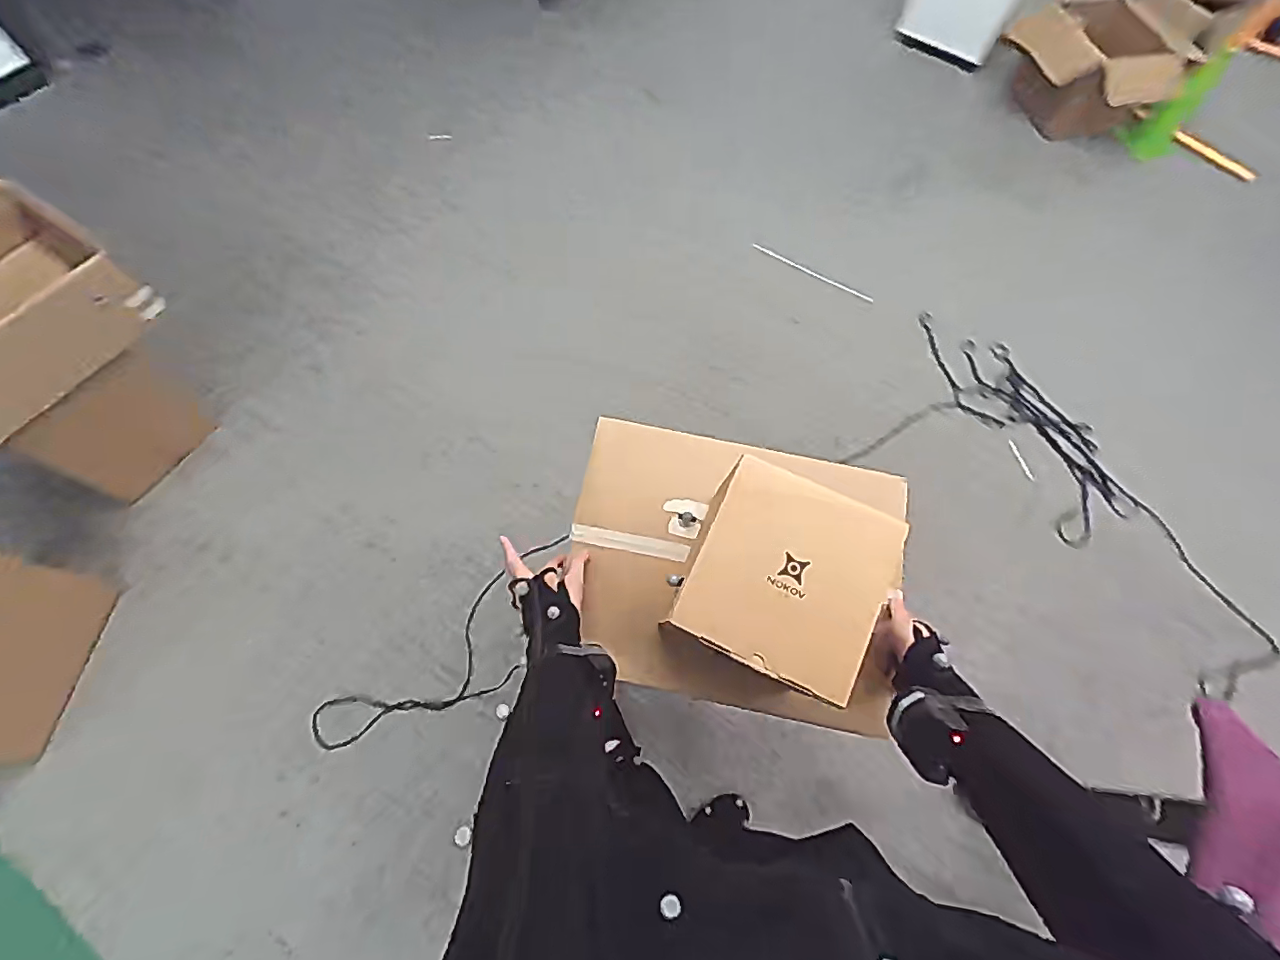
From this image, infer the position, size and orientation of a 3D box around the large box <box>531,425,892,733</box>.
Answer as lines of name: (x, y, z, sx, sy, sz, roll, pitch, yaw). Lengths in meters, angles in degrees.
large box: (0.098, 0.144, 0.789, 0.408, 0.320, 0.320, 10, 74, 3)

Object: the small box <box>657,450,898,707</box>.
small box: (0.122, 0.098, 0.549, 0.168, 0.176, 0.179, 24, 77, 5)
